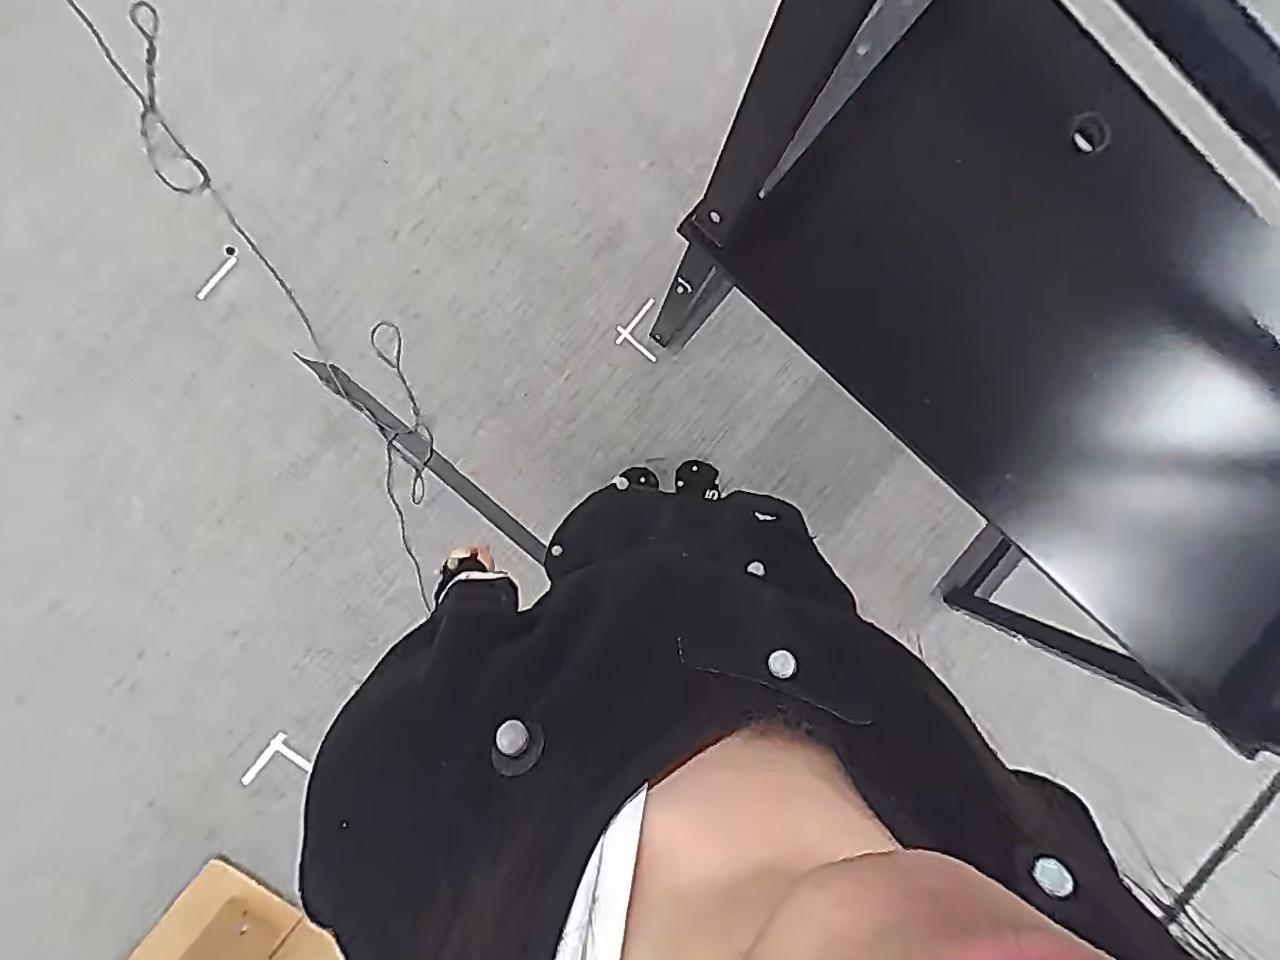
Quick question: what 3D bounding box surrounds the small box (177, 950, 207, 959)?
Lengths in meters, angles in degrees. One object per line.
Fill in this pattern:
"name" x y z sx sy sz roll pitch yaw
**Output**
"small box" -1.089 1.254 1.238 0.168 0.176 0.179 44 88 -6
